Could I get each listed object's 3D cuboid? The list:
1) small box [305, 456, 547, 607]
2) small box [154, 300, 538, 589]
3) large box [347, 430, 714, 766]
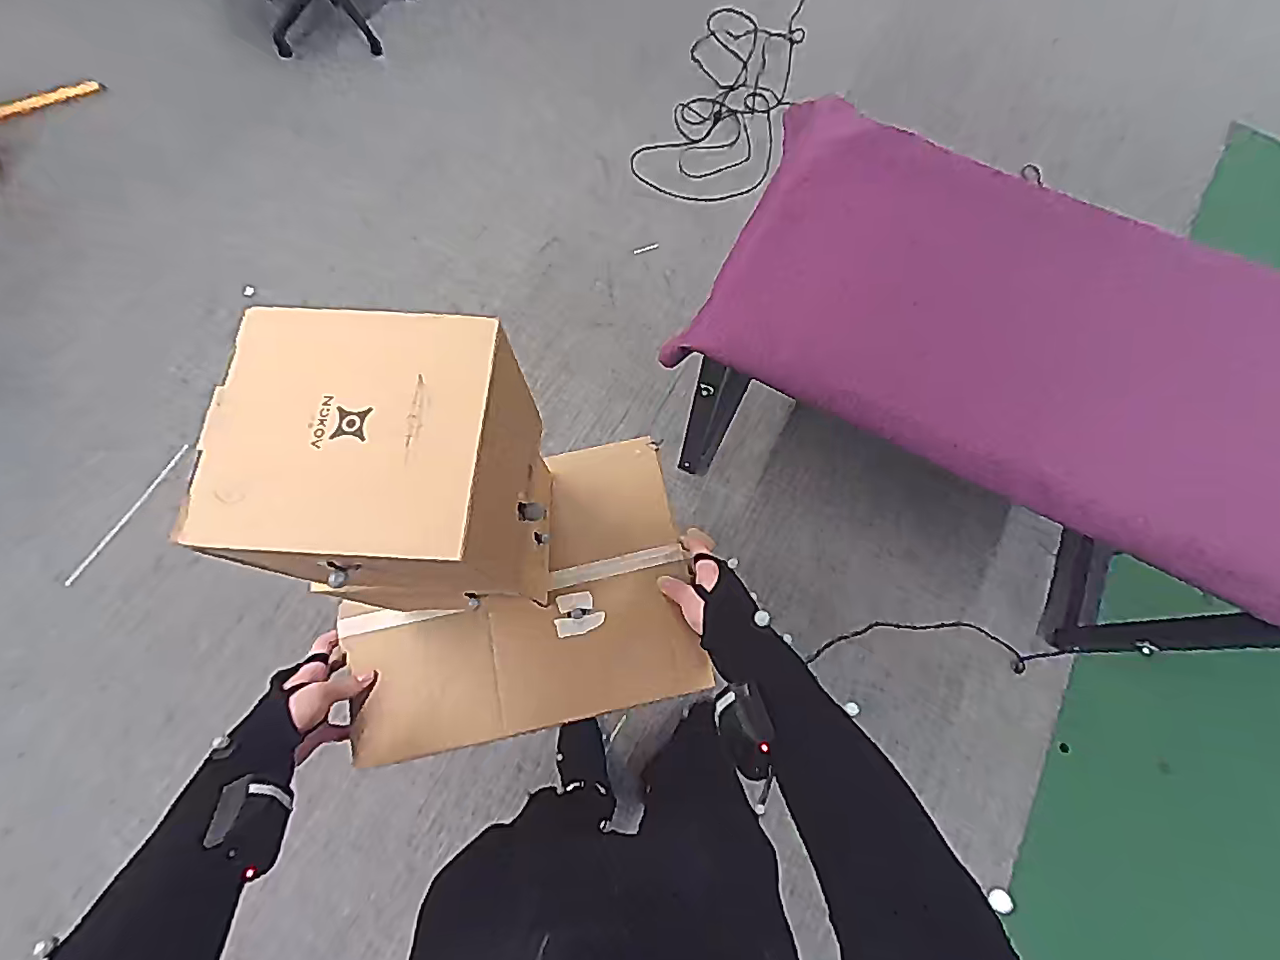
[{"bbox_3d":[-0.201,0.040,0.563,0.179,0.176,0.168,-2,71,0],"label":"small box"},{"bbox_3d":[-0.187,-0.013,0.408,0.179,0.176,0.168,3,72,2],"label":"small box"},{"bbox_3d":[-0.143,0.168,0.775,0.408,0.320,0.320,-13,73,-4],"label":"large box"}]
